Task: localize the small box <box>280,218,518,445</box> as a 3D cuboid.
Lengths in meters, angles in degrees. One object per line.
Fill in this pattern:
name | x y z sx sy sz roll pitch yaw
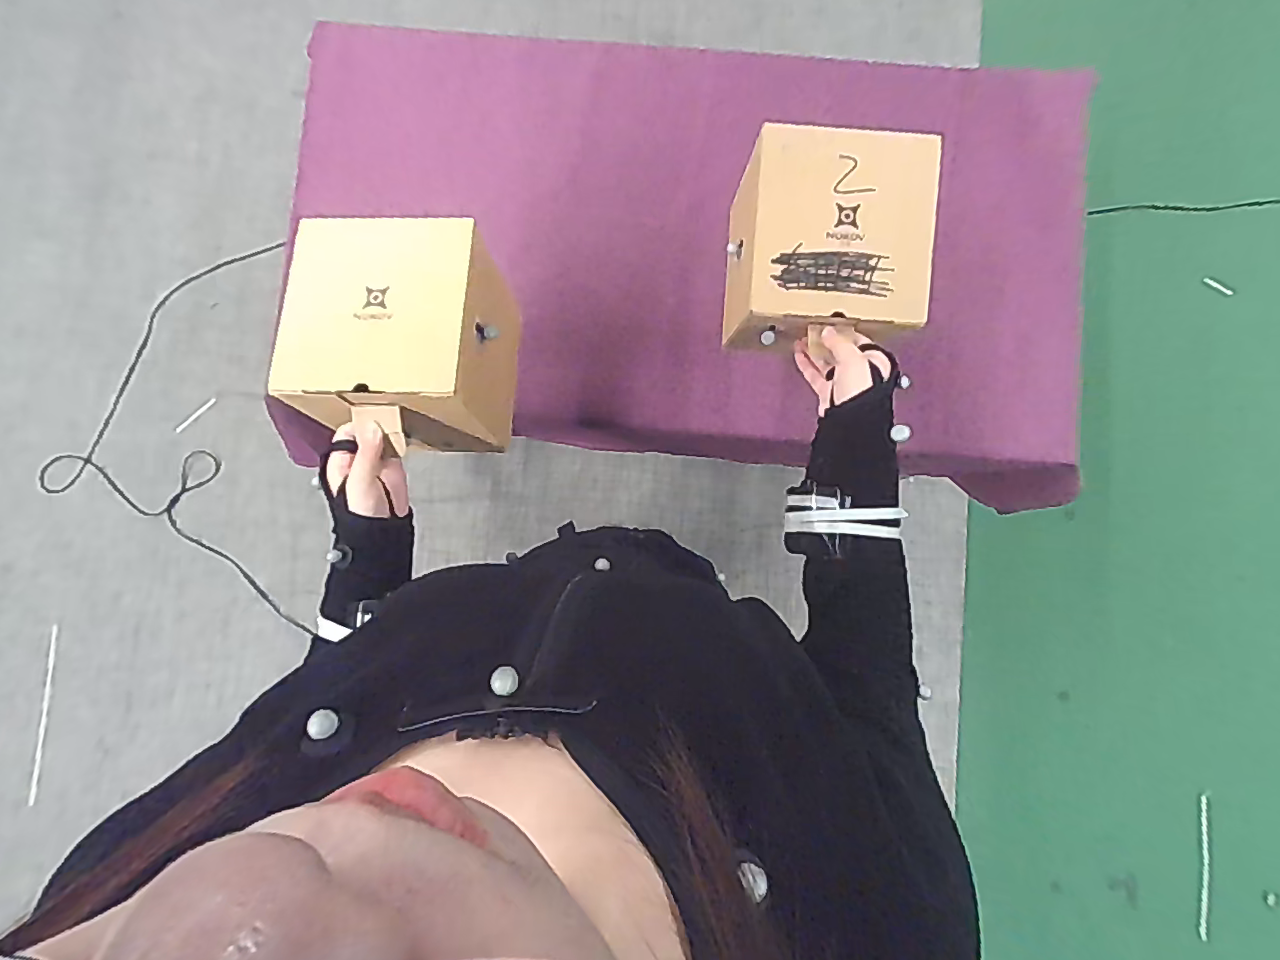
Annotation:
small box | -0.233 -0.146 0.573 0.168 0.176 0.179 1 78 2
